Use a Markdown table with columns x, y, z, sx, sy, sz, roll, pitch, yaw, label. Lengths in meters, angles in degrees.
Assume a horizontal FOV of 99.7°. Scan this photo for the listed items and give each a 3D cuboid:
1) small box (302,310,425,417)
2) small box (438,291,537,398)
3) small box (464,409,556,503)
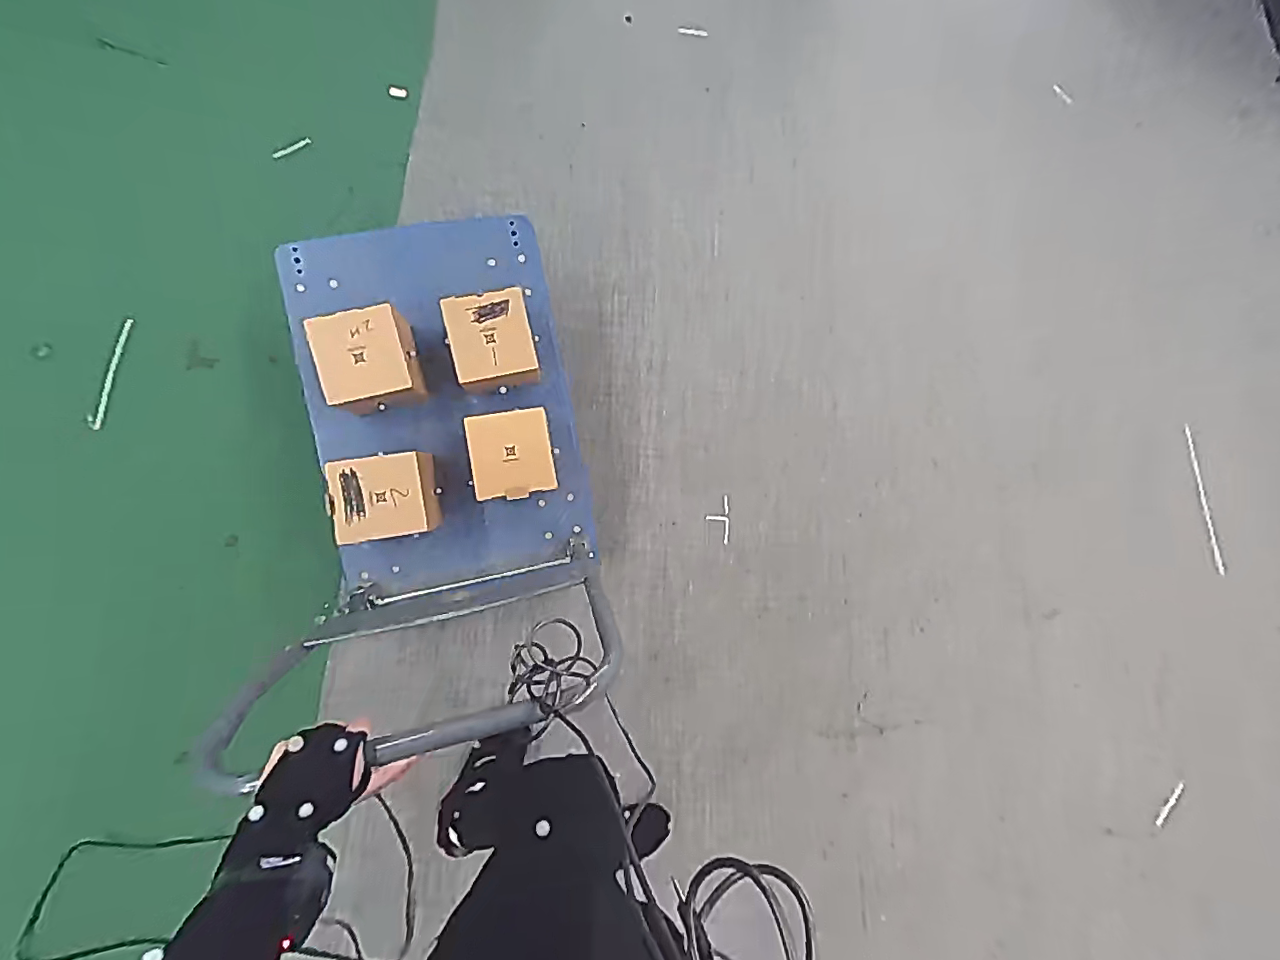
| x | y | z | sx | sy | sz | roll | pitch | yaw | label |
| --- | --- | --- | --- | --- | --- | --- | --- | --- | --- |
| -0.574 | -0.237 | 1.148 | 0.168 | 0.176 | 0.179 | -15 | 92 | -10 | small box |
| -0.327 | -0.291 | 1.187 | 0.168 | 0.176 | 0.179 | -14 | 93 | -8 | small box |
| -0.283 | -0.050 | 1.195 | 0.168 | 0.176 | 0.179 | -10 | 92 | -9 | small box |
